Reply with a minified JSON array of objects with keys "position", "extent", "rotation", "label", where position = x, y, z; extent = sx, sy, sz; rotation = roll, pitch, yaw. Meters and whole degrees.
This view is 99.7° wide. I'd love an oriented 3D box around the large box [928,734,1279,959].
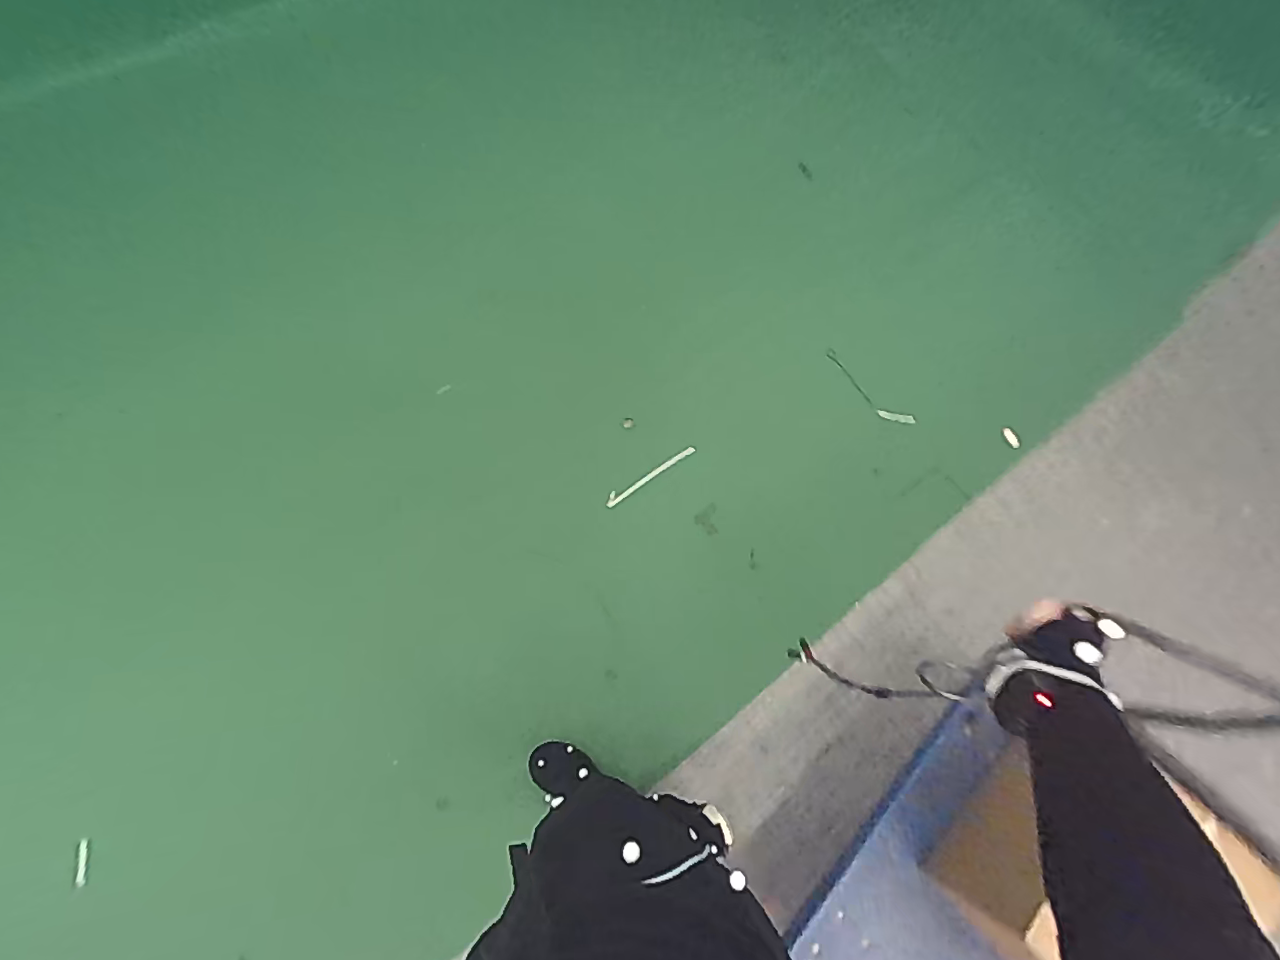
[{"position":[0.865,0.779,1.044],"extent":[0.320,0.320,0.408],"rotation":[44,75,10],"label":"large box"}]
